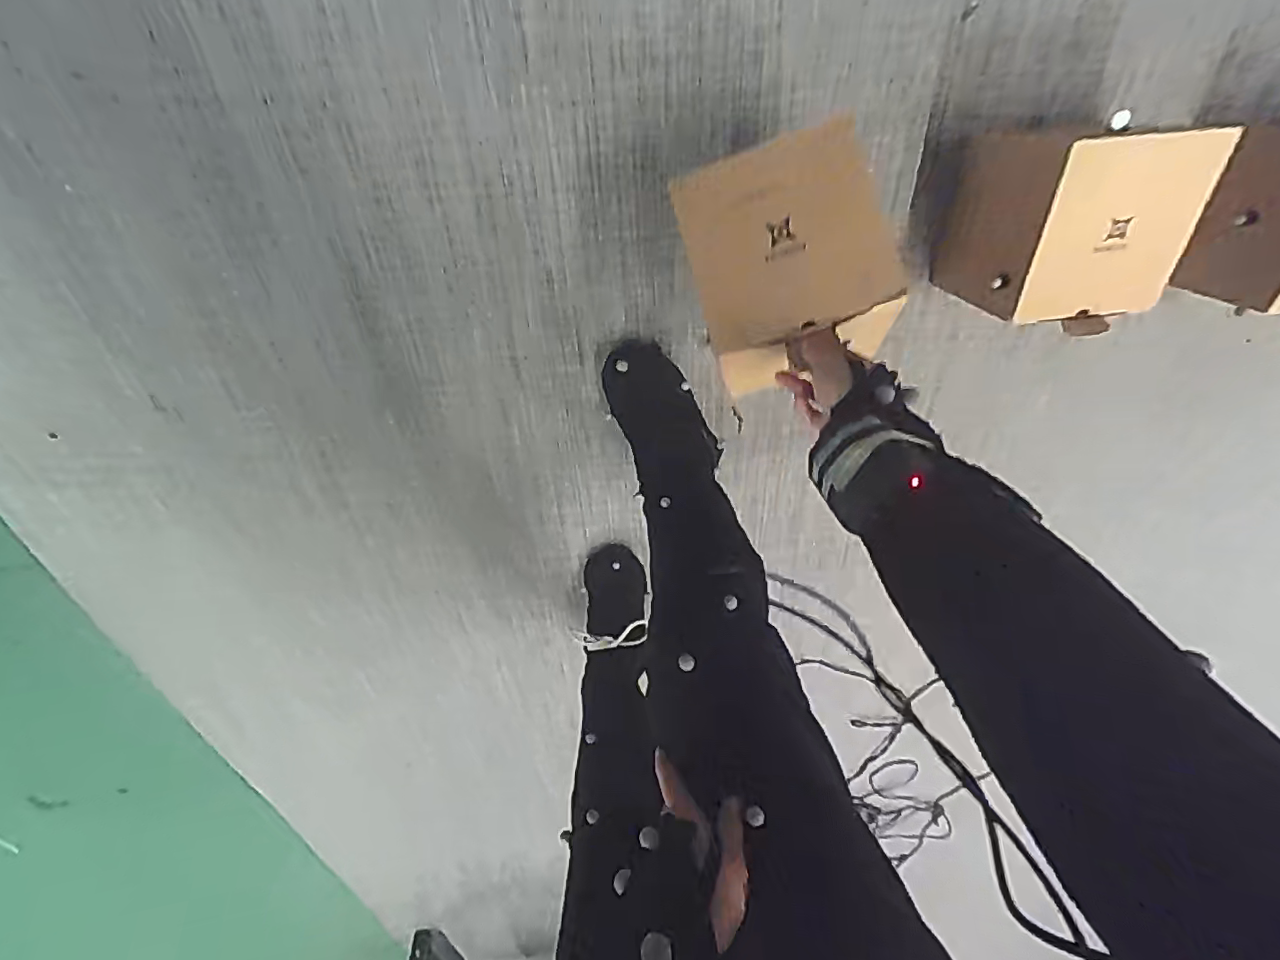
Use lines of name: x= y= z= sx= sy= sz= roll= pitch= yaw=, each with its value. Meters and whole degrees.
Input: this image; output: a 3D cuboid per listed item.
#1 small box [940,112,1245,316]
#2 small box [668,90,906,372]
small box: x=0.471 y=-0.300 z=0.603 sx=0.168 sy=0.176 sz=0.179 roll=-6 pitch=125 yaw=-2
small box: x=0.137 y=-0.218 z=0.533 sx=0.168 sy=0.176 sz=0.179 roll=-14 pitch=84 yaw=11
